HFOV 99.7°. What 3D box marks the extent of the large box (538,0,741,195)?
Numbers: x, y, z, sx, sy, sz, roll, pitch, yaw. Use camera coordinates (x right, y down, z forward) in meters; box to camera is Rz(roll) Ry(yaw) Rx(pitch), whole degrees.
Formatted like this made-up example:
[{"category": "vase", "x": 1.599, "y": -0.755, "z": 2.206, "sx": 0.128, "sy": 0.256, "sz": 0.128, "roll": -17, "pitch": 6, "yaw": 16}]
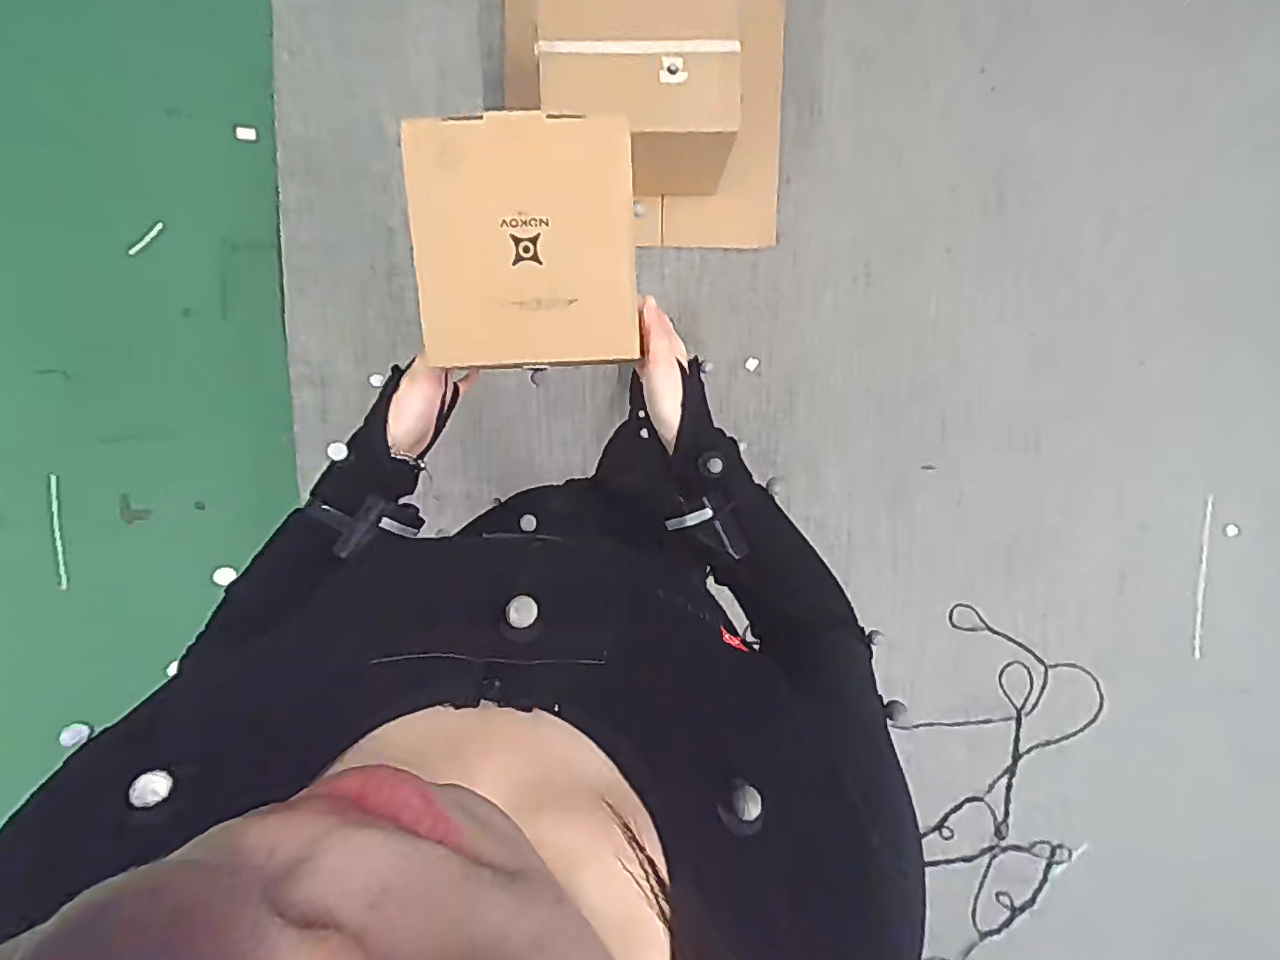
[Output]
[{"category": "large box", "x": -0.005, "y": -0.865, "z": 1.215, "sx": 0.408, "sy": 0.320, "sz": 0.320, "roll": -1, "pitch": 97, "yaw": -2}]
